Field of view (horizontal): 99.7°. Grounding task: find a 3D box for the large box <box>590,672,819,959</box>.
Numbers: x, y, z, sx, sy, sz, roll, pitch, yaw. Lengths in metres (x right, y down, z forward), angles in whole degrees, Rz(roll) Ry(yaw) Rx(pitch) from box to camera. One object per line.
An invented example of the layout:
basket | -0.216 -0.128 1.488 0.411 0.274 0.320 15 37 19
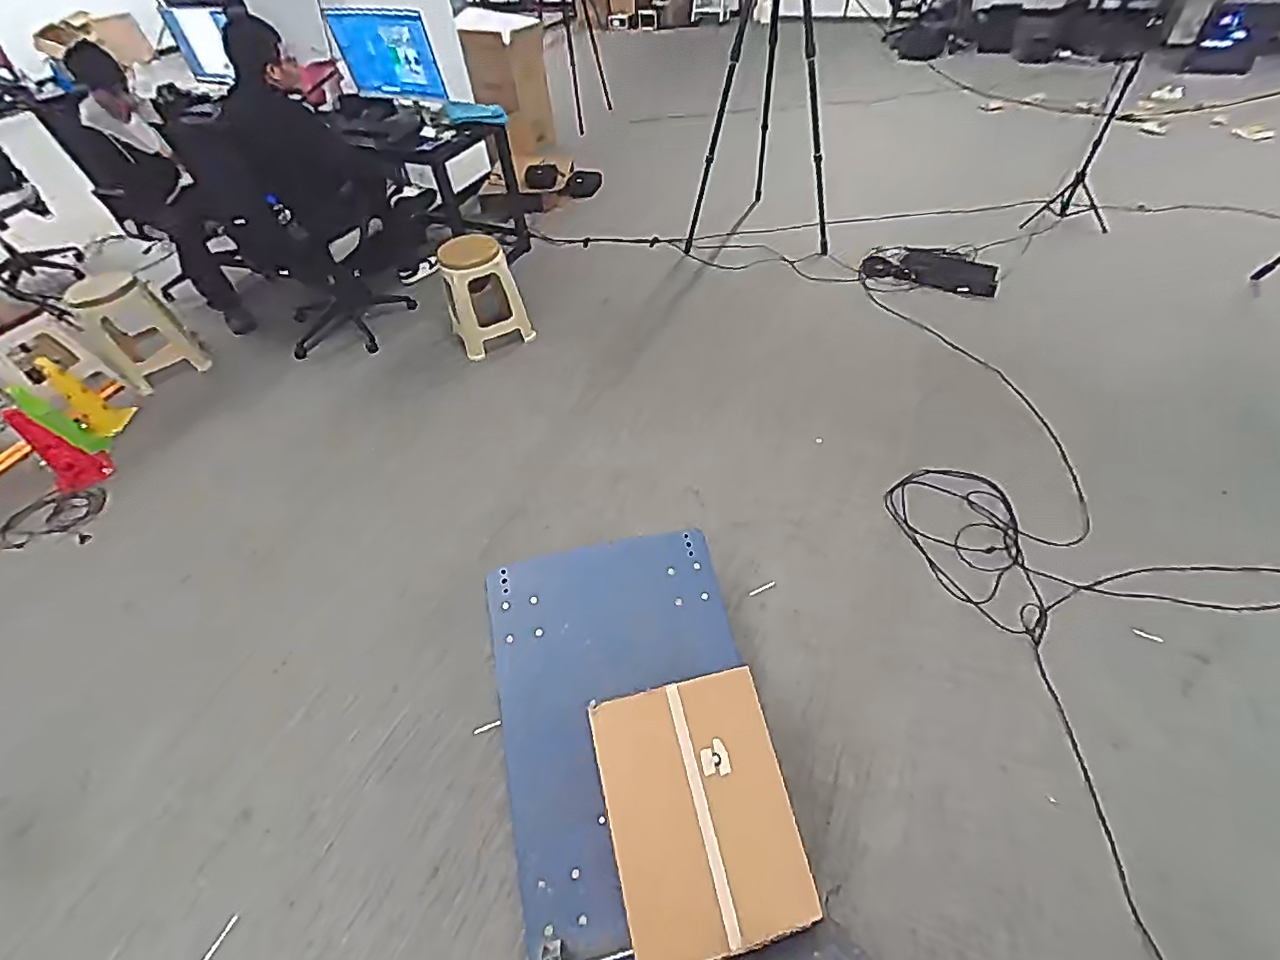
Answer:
large box | 0.093 0.639 1.081 0.320 0.320 0.408 -11 67 -10
